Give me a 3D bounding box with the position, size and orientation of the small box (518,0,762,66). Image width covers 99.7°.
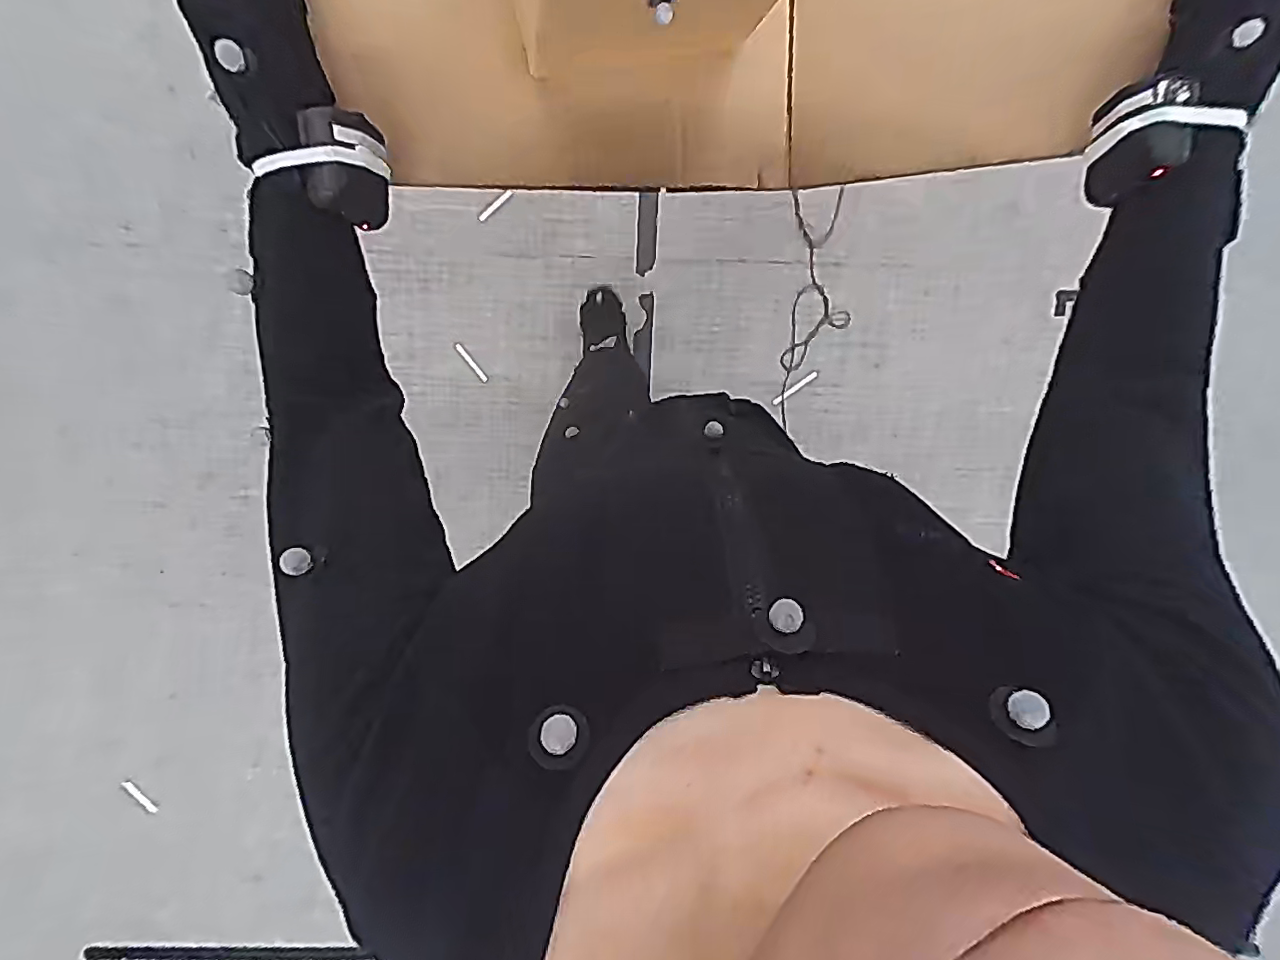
[{"bbox_3d":[0.003,-0.397,0.337,0.179,0.176,0.168,-15,107,-9],"label":"small box"}]
